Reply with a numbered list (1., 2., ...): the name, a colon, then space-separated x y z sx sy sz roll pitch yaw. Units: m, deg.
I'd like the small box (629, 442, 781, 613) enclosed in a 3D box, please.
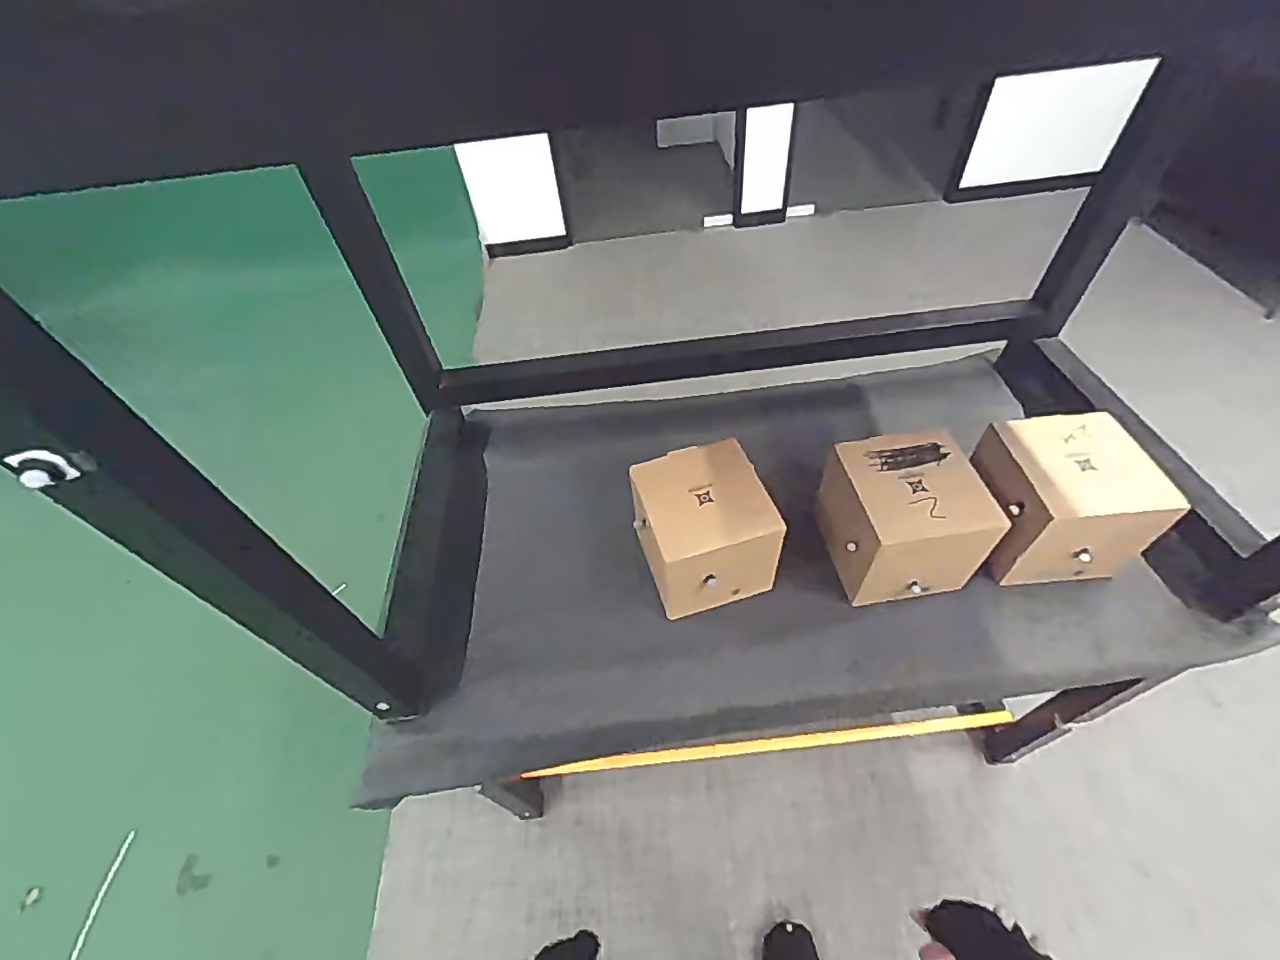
1. small box: 0.090 0.077 0.798 0.168 0.176 0.179 -15 50 -7
